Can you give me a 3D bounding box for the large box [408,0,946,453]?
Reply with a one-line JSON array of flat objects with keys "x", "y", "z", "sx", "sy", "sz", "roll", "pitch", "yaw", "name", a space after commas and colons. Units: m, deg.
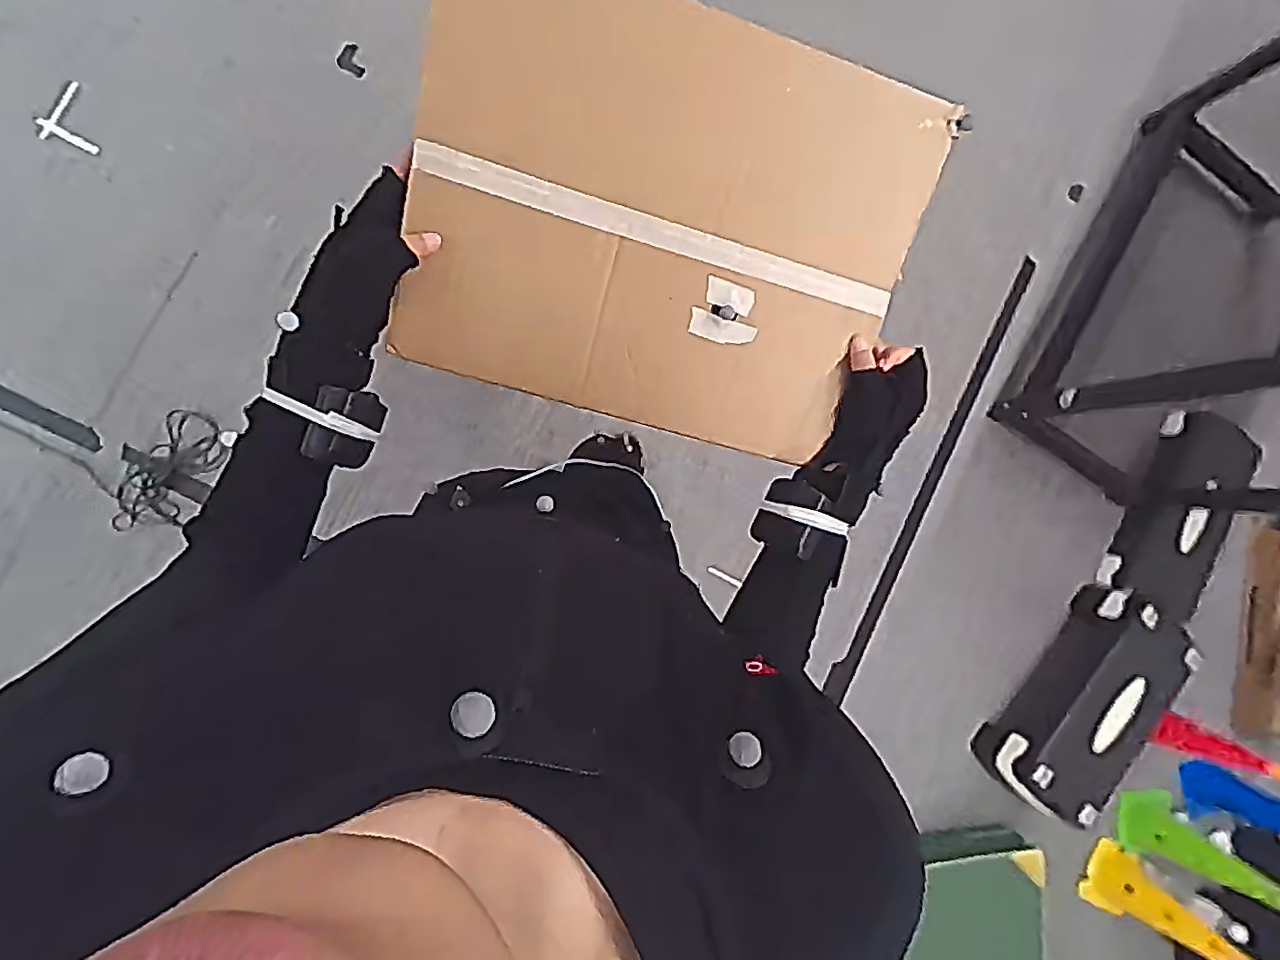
[{"x": 0.012, "y": -0.254, "z": 0.598, "sx": 0.408, "sy": 0.320, "sz": 0.320, "roll": 14, "pitch": 107, "yaw": -9, "name": "large box"}]
